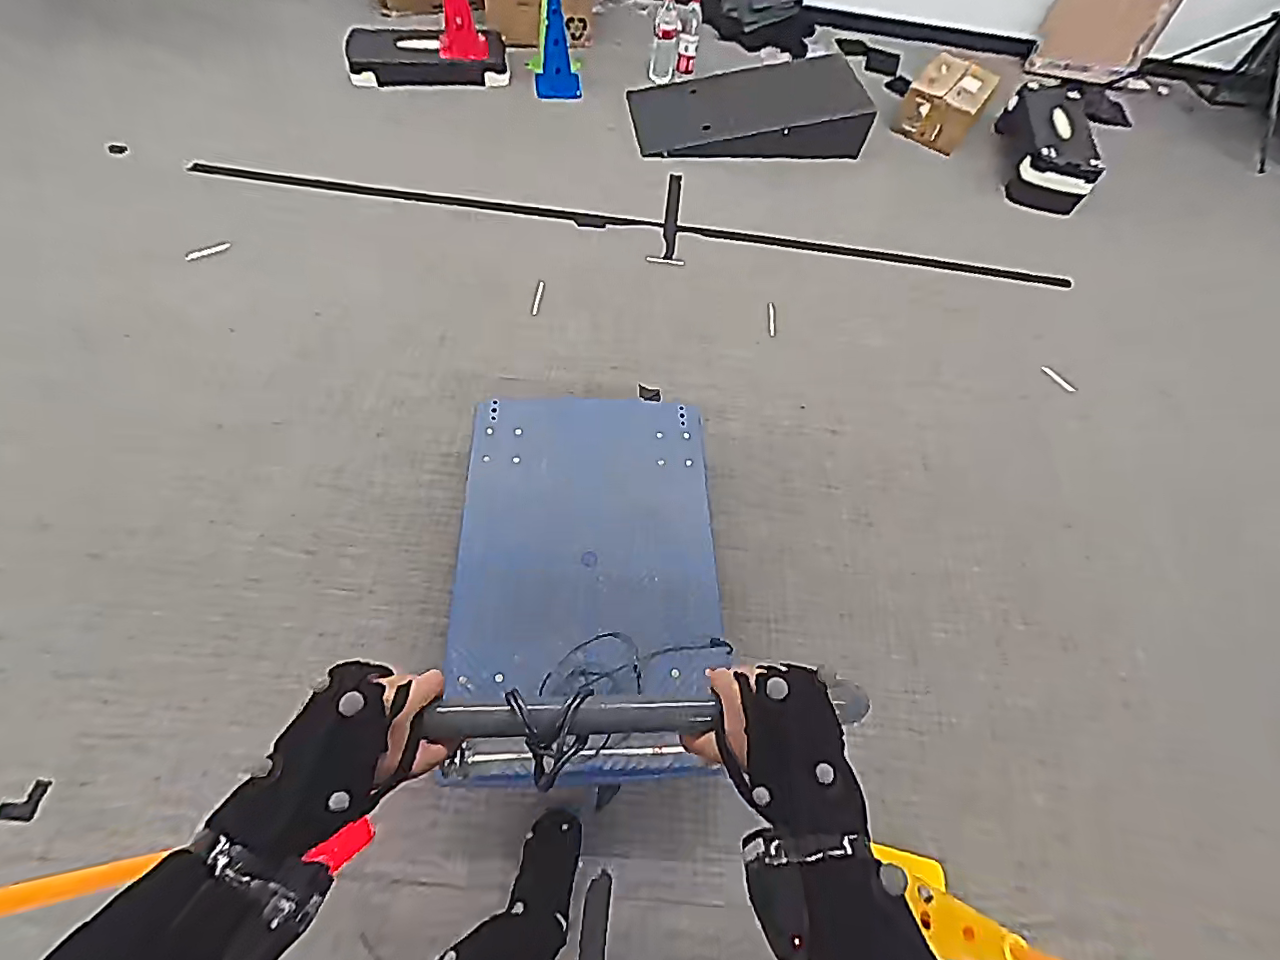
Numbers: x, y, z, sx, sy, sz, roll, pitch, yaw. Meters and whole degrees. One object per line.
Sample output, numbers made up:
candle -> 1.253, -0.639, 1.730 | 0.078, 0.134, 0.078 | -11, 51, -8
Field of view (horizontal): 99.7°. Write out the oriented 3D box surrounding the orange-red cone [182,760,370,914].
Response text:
orange-red cone -> -0.634, 0.601, 0.900 | 0.199, 0.360, 0.198 | -34, 71, -23
